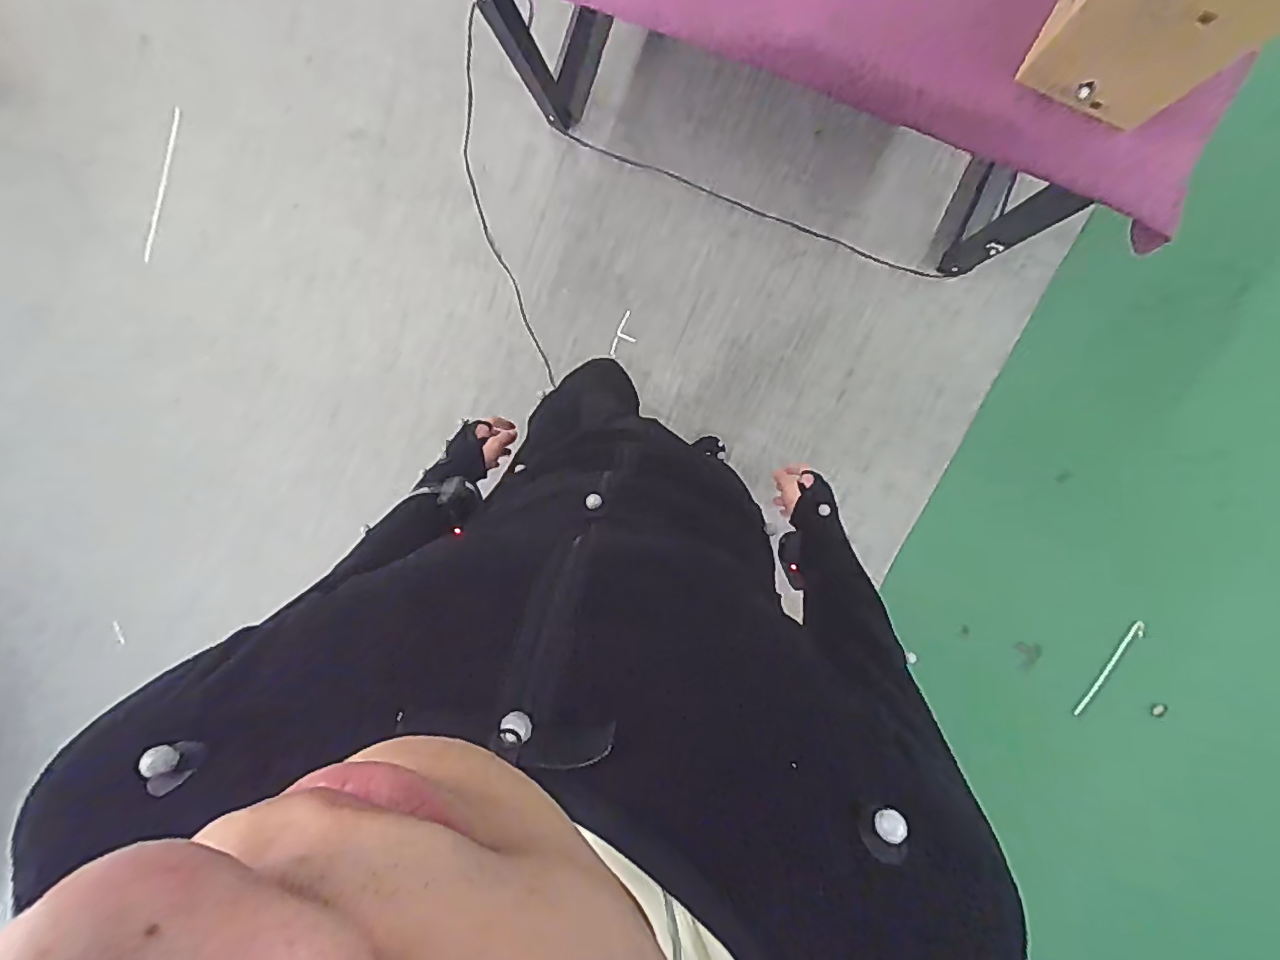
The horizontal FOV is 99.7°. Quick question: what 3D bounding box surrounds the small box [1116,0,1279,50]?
[{"bbox_3d":[0.573,-0.539,0.467,0.168,0.176,0.179,28,100,4],"label":"small box"}]
